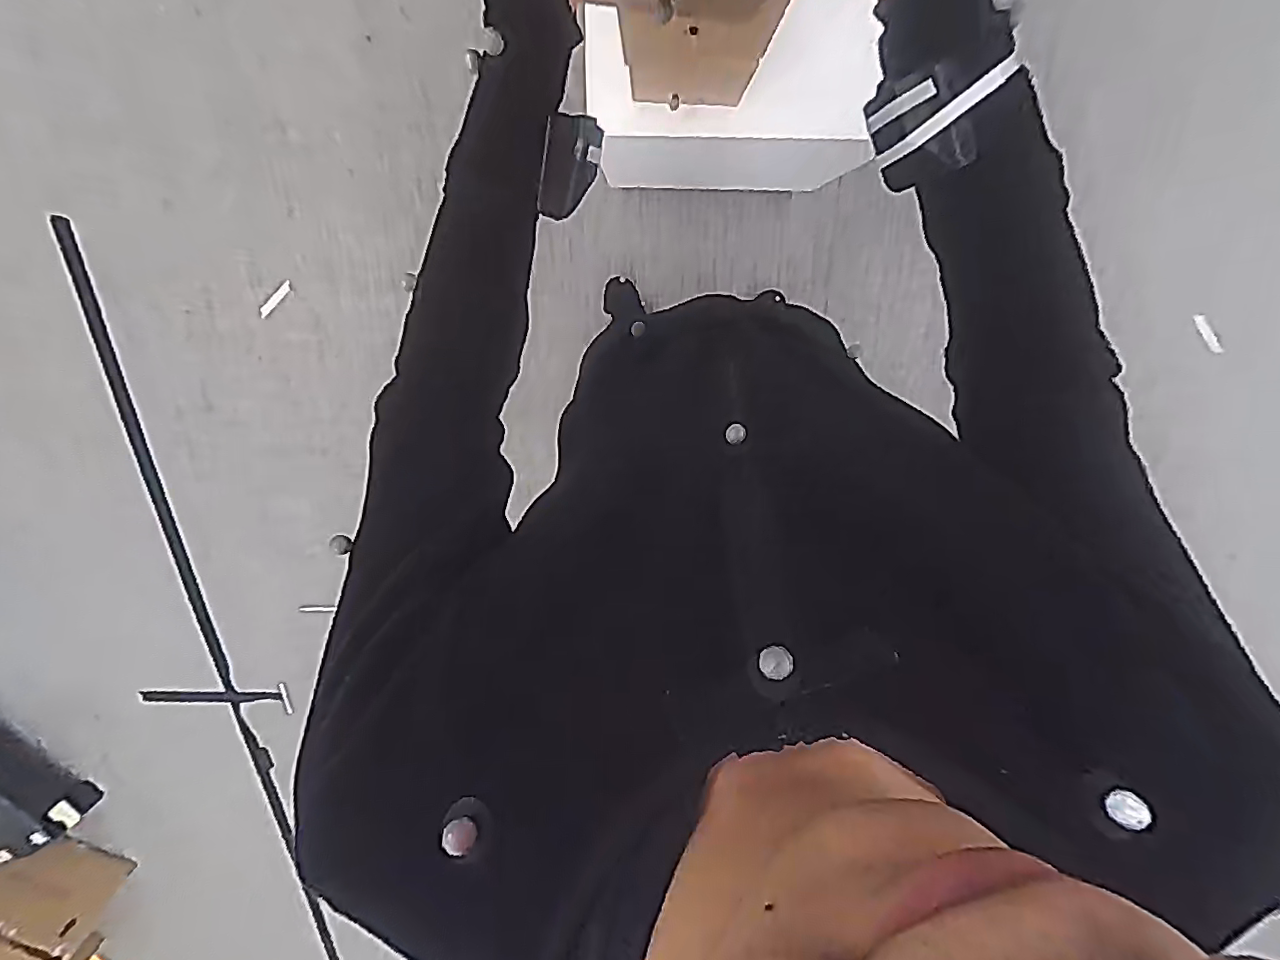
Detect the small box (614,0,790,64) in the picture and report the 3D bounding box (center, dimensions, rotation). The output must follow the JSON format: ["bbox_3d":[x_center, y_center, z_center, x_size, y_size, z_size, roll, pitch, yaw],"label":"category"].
[{"bbox_3d":[0.060,-0.566,0.566,0.179,0.176,0.168,-1,110,3],"label":"small box"}]

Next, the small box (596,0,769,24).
[{"bbox_3d":[0.035,-0.456,0.372,0.168,0.176,0.179,3,119,-7],"label":"small box"}]

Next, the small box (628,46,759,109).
[{"bbox_3d":[0.068,-0.624,0.719,0.168,0.176,0.179,2,111,0],"label":"small box"}]
